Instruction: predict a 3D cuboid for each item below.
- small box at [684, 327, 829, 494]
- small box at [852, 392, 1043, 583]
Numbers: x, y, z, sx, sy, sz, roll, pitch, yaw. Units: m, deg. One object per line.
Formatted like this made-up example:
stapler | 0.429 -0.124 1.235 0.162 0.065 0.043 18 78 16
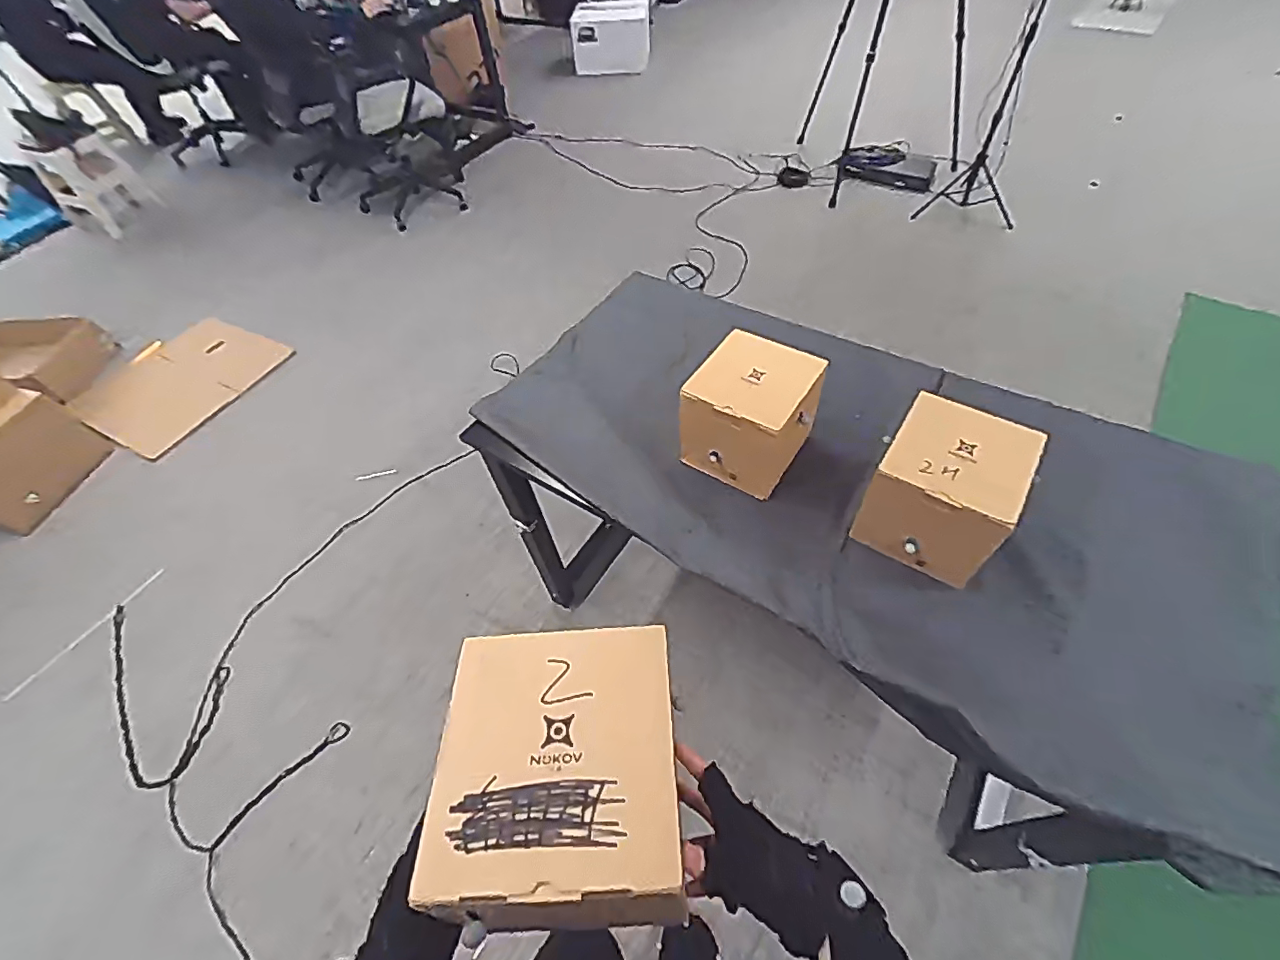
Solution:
small box | 0.181 -0.112 0.887 0.168 0.176 0.179 28 60 22
small box | 0.427 0.012 0.774 0.168 0.176 0.179 28 60 23
